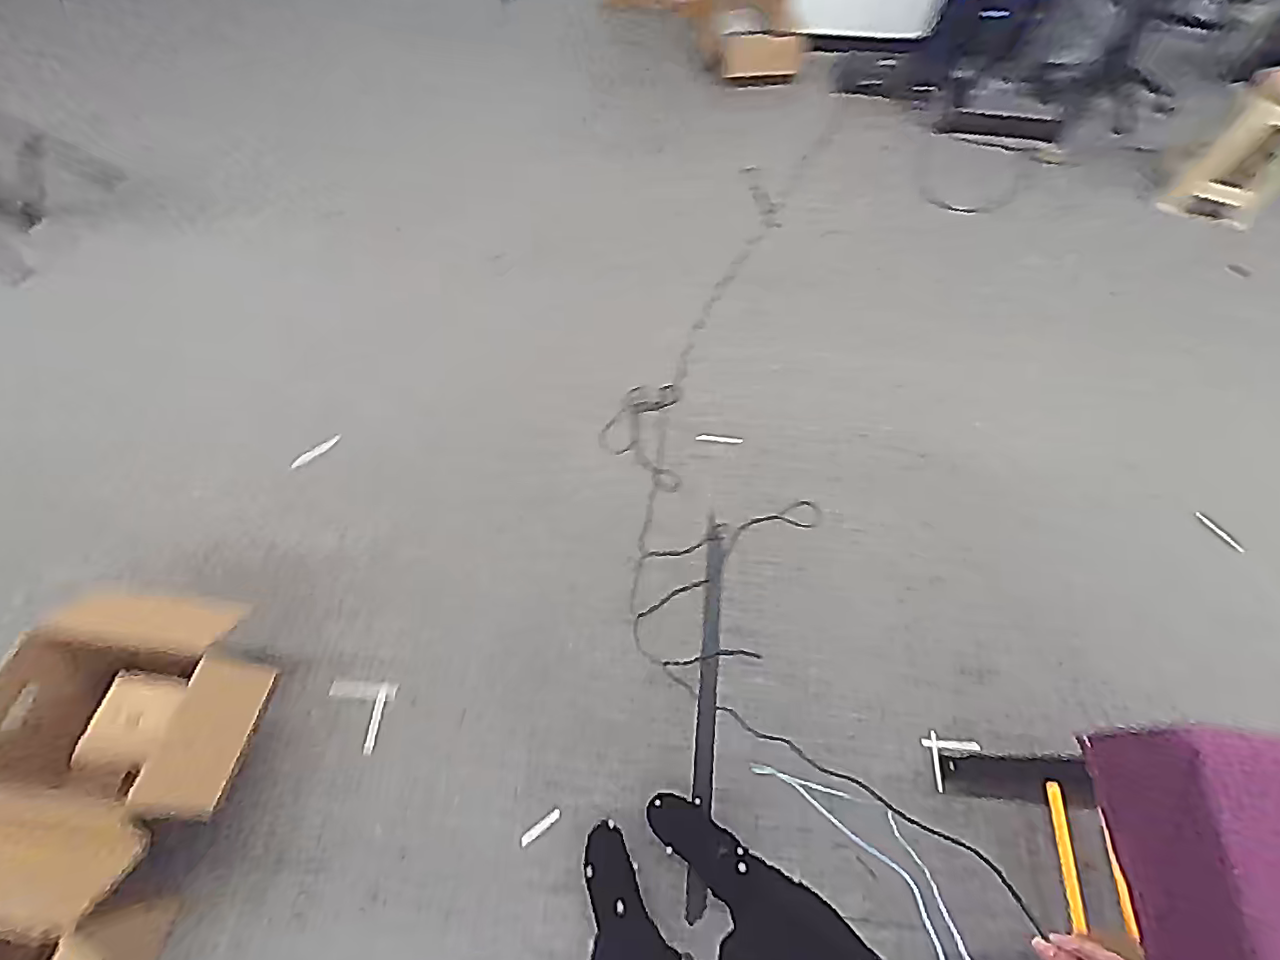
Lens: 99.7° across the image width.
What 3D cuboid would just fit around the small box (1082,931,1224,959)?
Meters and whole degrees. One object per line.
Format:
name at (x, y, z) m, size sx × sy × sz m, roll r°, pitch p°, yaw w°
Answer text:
small box at (1.013, 1.007, 1.047) m, size 0.168 × 0.176 × 0.179 m, roll 3°, pitch 65°, yaw -1°
